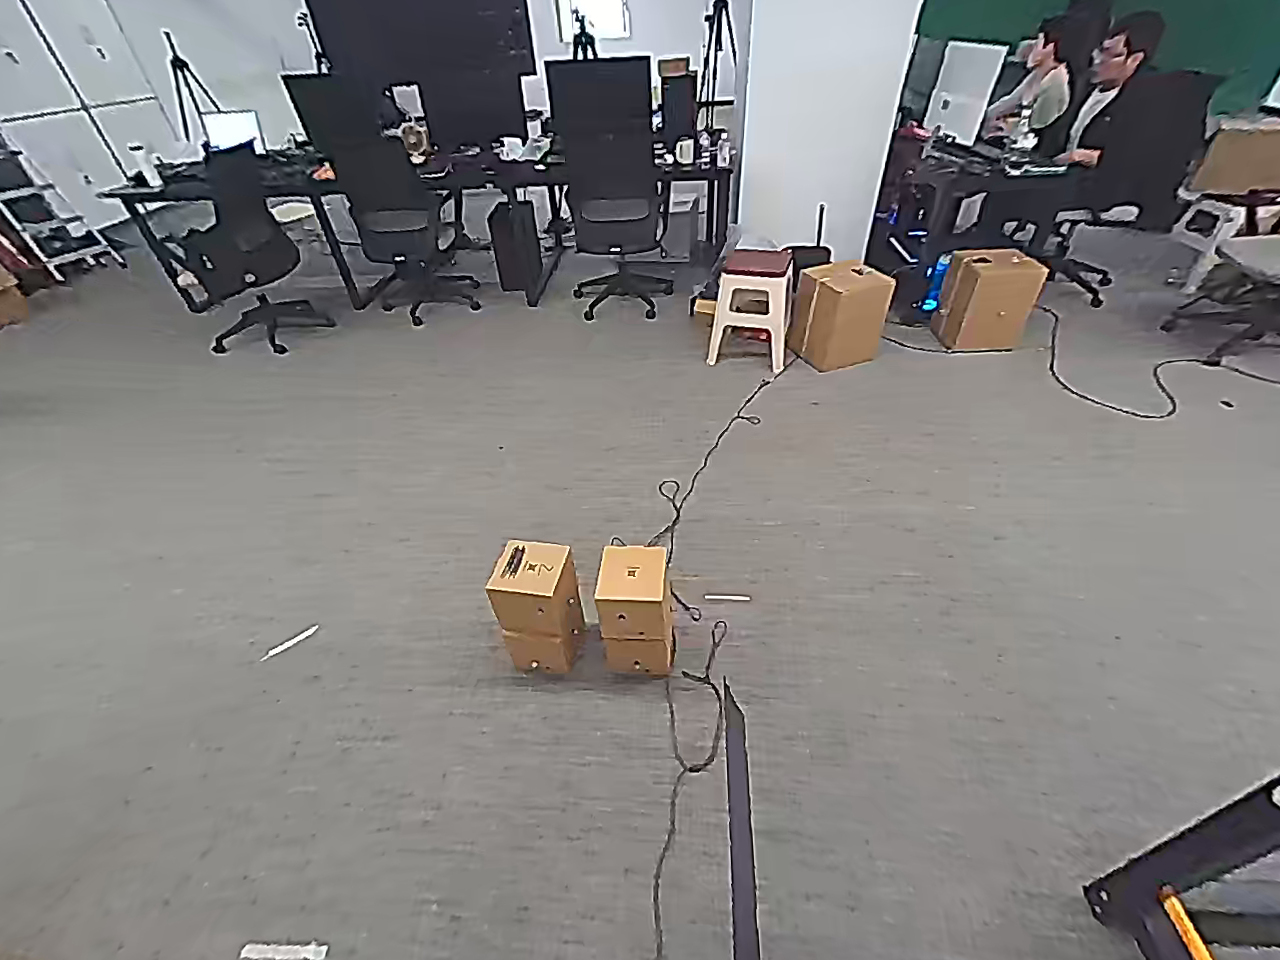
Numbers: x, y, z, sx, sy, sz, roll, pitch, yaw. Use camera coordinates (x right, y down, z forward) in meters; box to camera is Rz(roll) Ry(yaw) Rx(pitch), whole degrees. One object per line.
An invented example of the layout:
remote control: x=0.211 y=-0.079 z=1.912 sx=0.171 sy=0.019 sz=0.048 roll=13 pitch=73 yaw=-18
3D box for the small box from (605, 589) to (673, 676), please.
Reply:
small box: x=0.003 y=0.416 z=1.492 sx=0.168 sy=0.176 sz=0.179 roll=0 pitch=41 yaw=7

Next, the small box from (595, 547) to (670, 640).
small box: x=-0.011 y=0.292 z=1.388 sx=0.168 sy=0.176 sz=0.179 roll=0 pitch=39 yaw=7

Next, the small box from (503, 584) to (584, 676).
small box: x=-0.261 y=0.418 z=1.514 sx=0.168 sy=0.176 sz=0.179 roll=4 pitch=42 yaw=11
